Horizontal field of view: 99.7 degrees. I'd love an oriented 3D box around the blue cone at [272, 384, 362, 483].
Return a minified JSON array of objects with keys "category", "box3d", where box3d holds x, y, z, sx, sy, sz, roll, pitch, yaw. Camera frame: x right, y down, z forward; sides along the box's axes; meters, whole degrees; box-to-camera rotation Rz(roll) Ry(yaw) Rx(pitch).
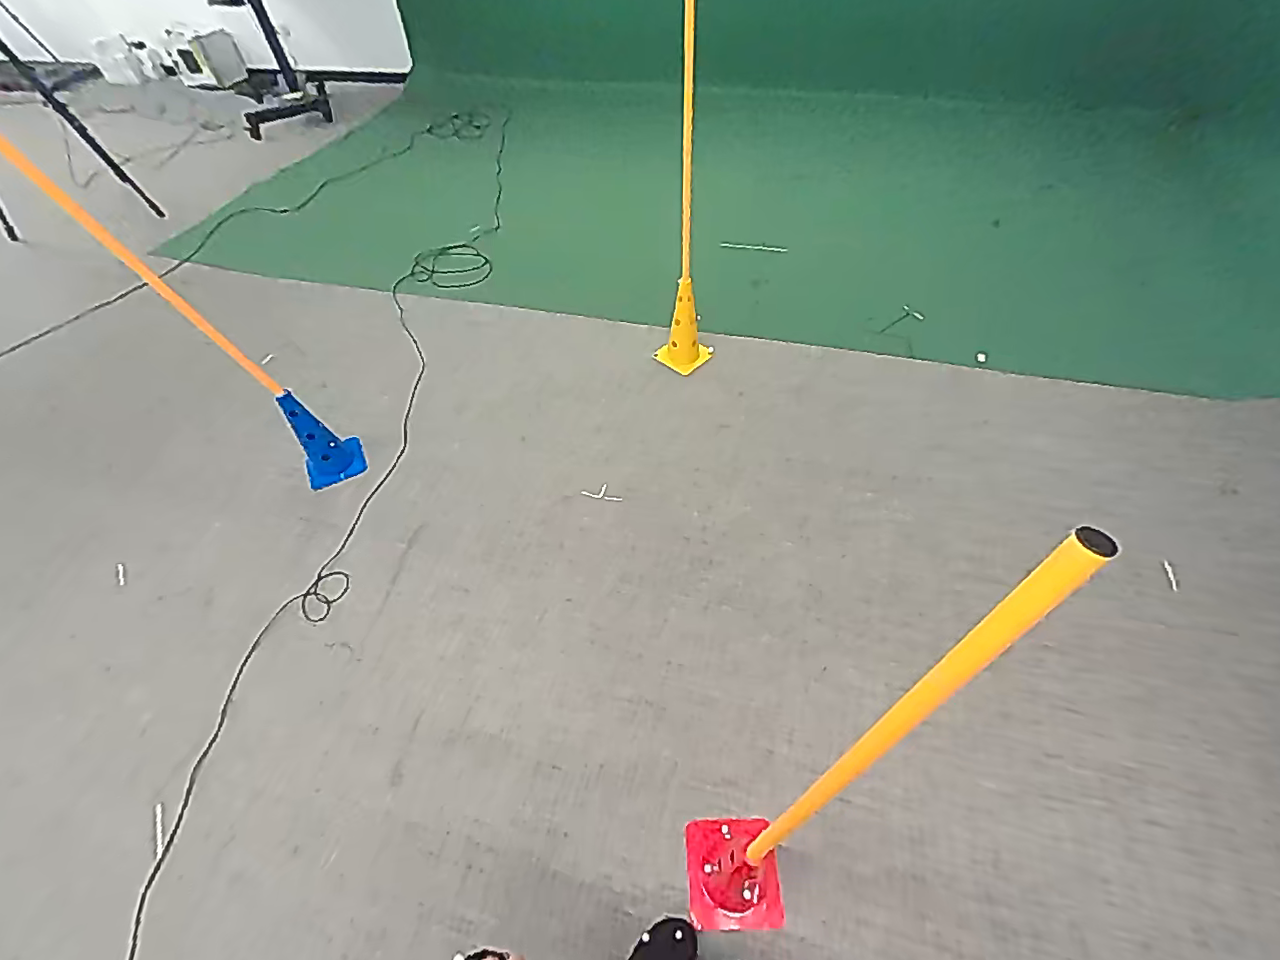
[{"category":"blue cone","box3d":[-1.141,-0.177,1.865,0.193,0.380,0.192,-26,56,-15]}]
